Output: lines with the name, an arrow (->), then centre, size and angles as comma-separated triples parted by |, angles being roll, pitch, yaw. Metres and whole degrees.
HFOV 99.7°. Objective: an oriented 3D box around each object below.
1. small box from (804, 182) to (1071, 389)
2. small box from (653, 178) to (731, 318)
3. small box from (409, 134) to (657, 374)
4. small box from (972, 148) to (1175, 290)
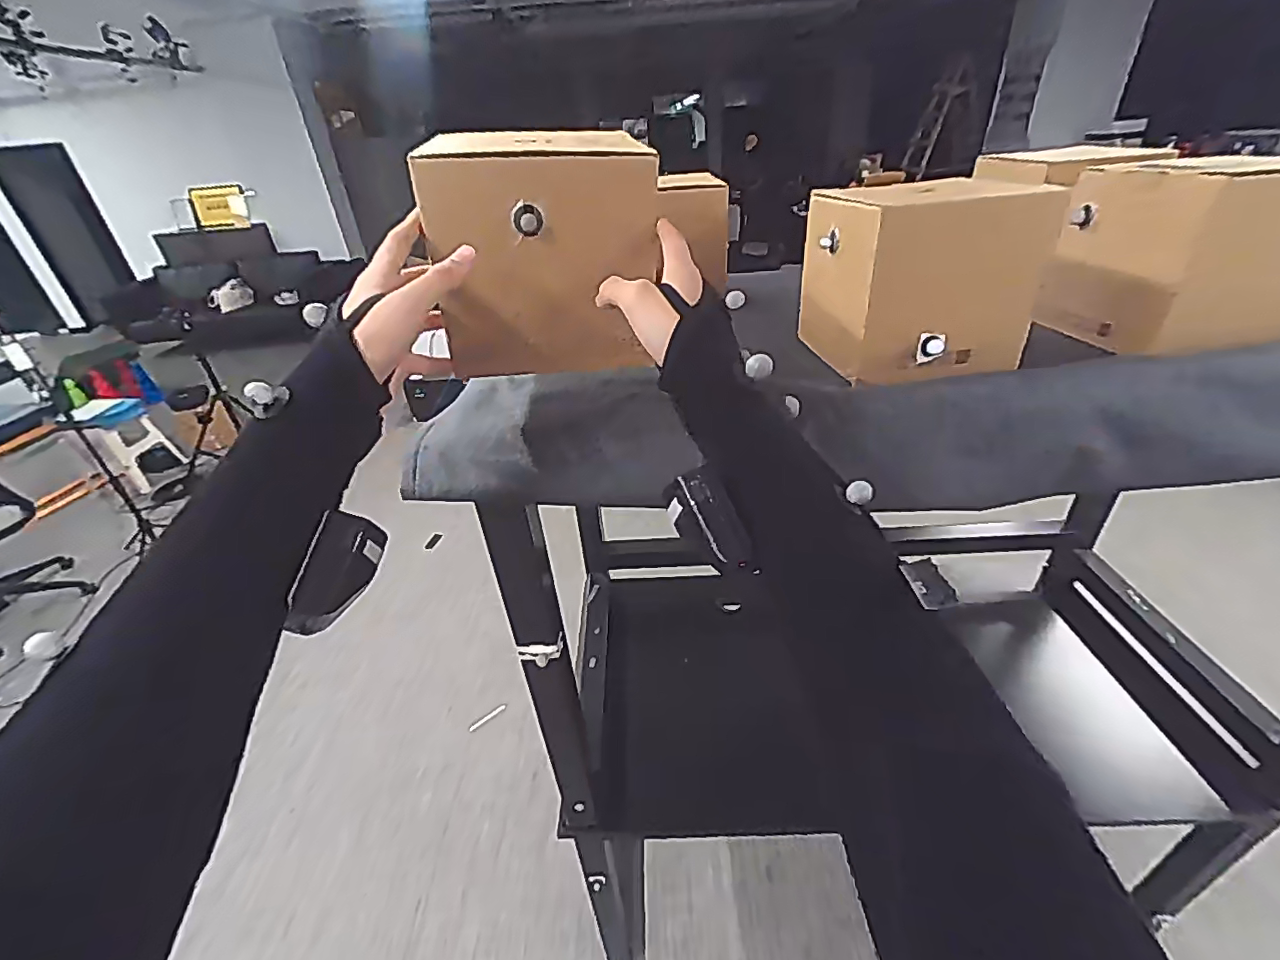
small box -> 0.279, -0.205, 0.561 | 0.168, 0.176, 0.179 | -6, 31, -1
small box -> 0.032, -0.346, 0.809 | 0.179, 0.176, 0.168 | -3, 33, 0
small box -> -0.083, -0.204, 0.485 | 0.179, 0.176, 0.168 | -5, 37, -8
small box -> 0.608, -0.384, 0.802 | 0.168, 0.176, 0.179 | -4, 33, 1
